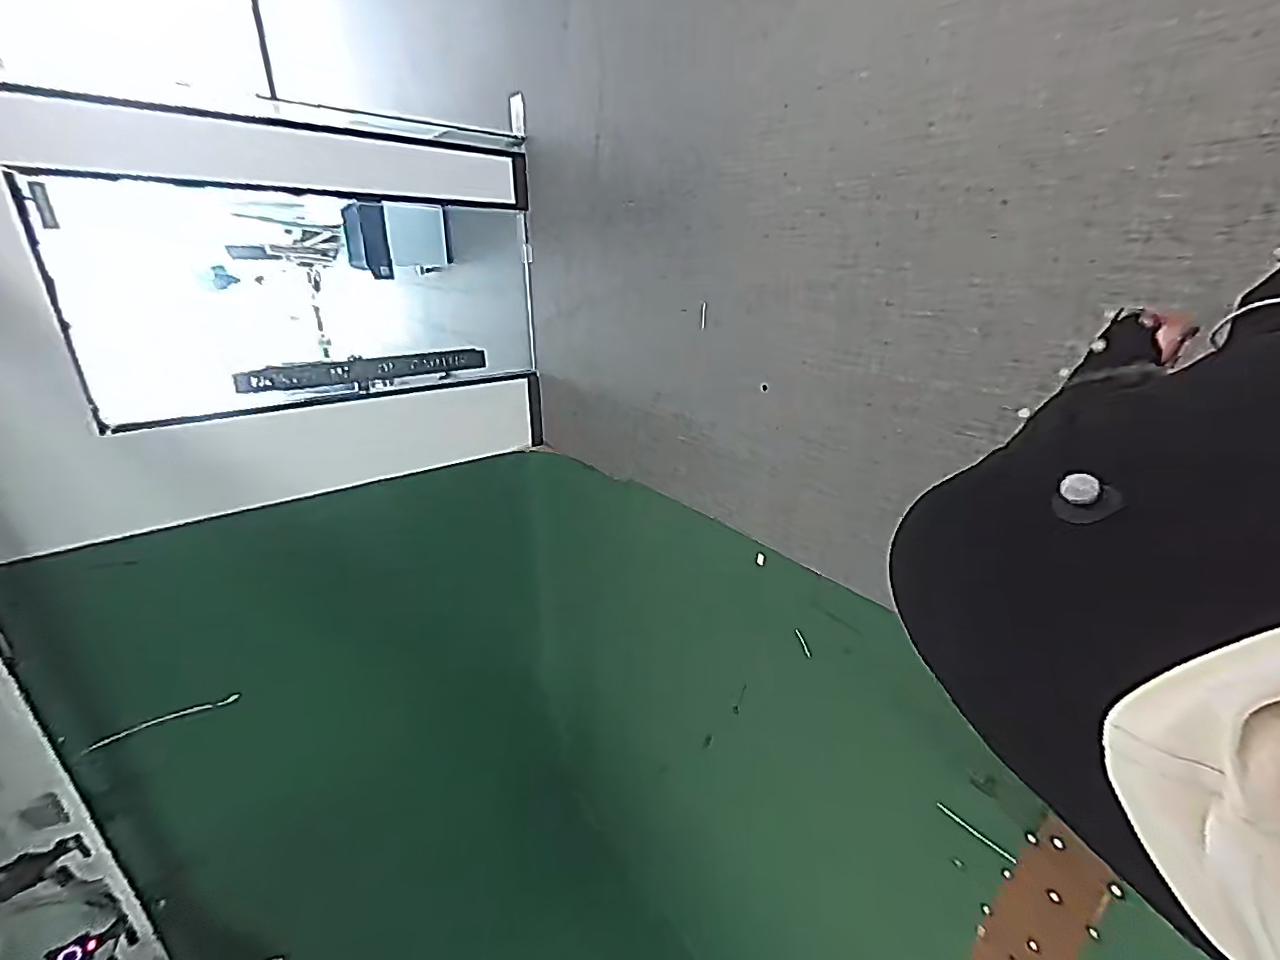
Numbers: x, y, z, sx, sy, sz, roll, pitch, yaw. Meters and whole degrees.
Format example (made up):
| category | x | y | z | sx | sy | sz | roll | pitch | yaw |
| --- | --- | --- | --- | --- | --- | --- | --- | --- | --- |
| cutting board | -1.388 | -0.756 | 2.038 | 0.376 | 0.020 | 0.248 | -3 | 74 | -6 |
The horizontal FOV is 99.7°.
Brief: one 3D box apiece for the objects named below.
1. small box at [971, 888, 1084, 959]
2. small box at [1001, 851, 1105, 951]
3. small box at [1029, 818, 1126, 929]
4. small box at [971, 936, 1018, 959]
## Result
| category | x | y | z | sx | sy | sz | roll | pitch | yaw |
| --- | --- | --- | --- | --- | --- | --- | --- | --- | --- |
| small box | 0.940 | 1.159 | 1.316 | 0.179 | 0.176 | 0.168 | 21 | 118 | 48 |
| small box | 1.066 | 1.120 | 1.413 | 0.179 | 0.176 | 0.168 | 22 | 120 | 47 |
| small box | 1.197 | 1.084 | 1.502 | 0.179 | 0.176 | 0.168 | 26 | 123 | 46 |
| small box | 0.817 | 1.198 | 1.215 | 0.168 | 0.176 | 0.179 | 23 | 120 | 47 |
